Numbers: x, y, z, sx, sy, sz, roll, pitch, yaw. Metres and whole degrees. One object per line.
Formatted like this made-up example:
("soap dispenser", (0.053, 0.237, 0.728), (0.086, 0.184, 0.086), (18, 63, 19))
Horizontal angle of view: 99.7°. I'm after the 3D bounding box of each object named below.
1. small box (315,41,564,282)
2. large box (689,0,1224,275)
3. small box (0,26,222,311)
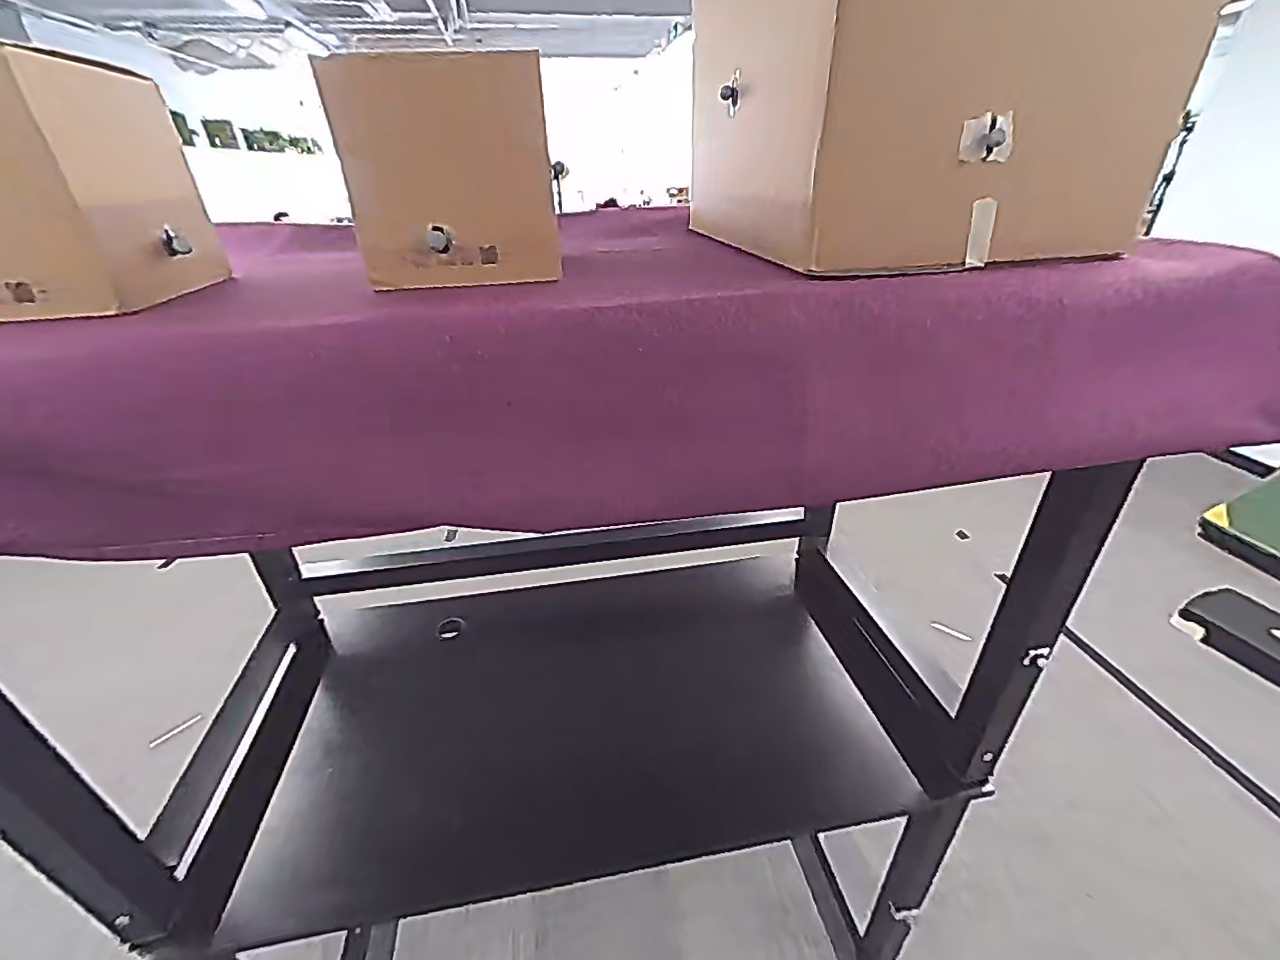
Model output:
("small box", (-0.162, -0.286, 0.504), (0.168, 0.176, 0.179), (-6, 31, -6))
("large box", (0.247, -0.405, 0.552), (0.320, 0.320, 0.408), (-6, 29, -8))
("small box", (-0.477, -0.234, 0.428), (0.168, 0.176, 0.179), (-7, 30, -9))
